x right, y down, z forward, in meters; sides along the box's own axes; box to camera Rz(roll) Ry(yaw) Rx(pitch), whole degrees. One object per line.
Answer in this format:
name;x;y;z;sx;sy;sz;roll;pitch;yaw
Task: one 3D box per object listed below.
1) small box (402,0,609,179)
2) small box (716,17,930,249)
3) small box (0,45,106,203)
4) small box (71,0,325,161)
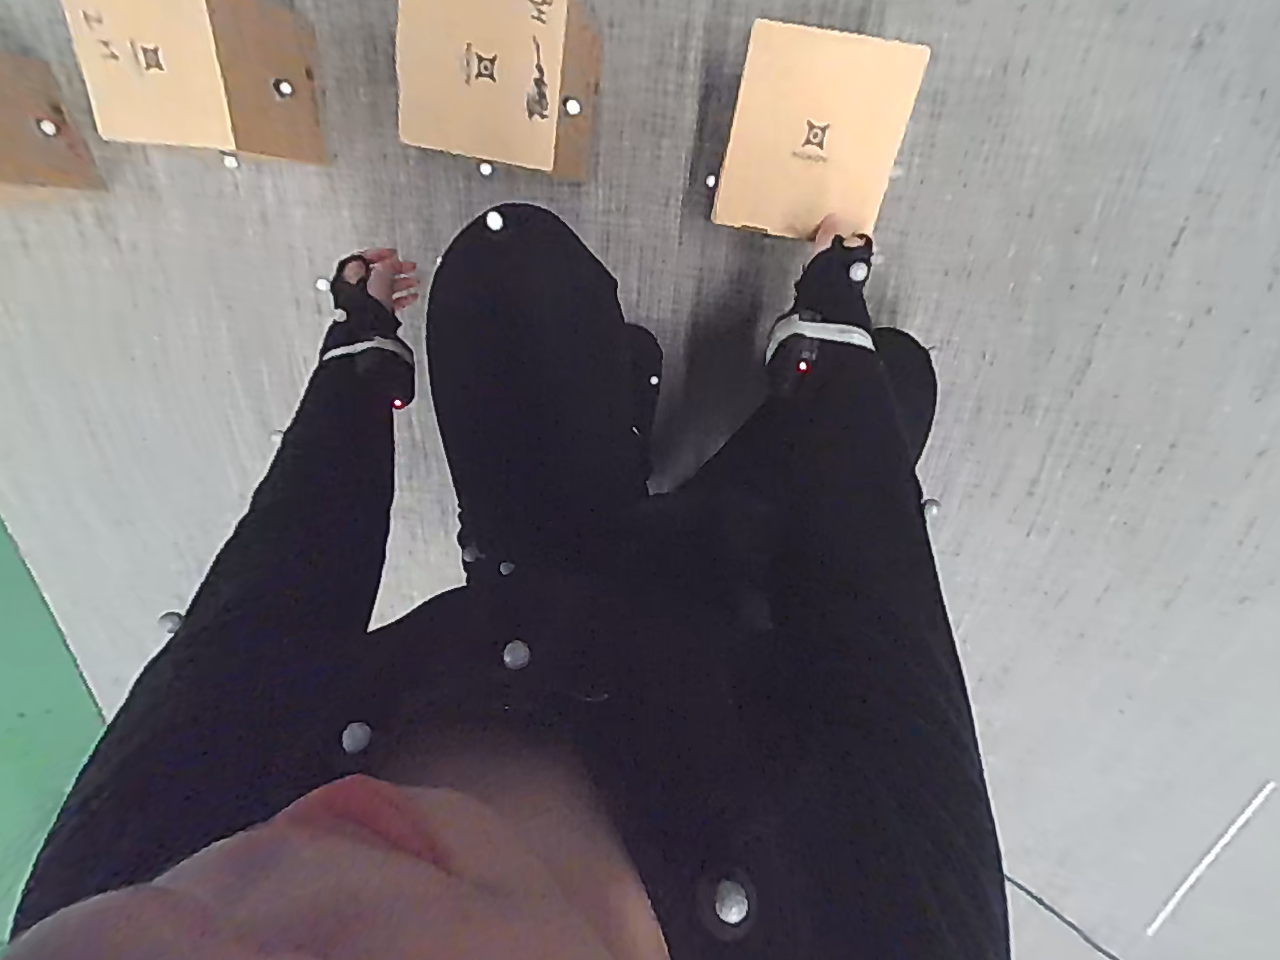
small box;-0.147;-0.456;0.619;0.179;0.176;0.168;13;116;4
small box;0.184;-0.370;0.607;0.168;0.176;0.179;13;116;3
small box;-0.908;-0.481;0.733;0.179;0.176;0.168;-3;114;10
small box;-0.517;-0.498;0.661;0.179;0.176;0.168;8;115;5
